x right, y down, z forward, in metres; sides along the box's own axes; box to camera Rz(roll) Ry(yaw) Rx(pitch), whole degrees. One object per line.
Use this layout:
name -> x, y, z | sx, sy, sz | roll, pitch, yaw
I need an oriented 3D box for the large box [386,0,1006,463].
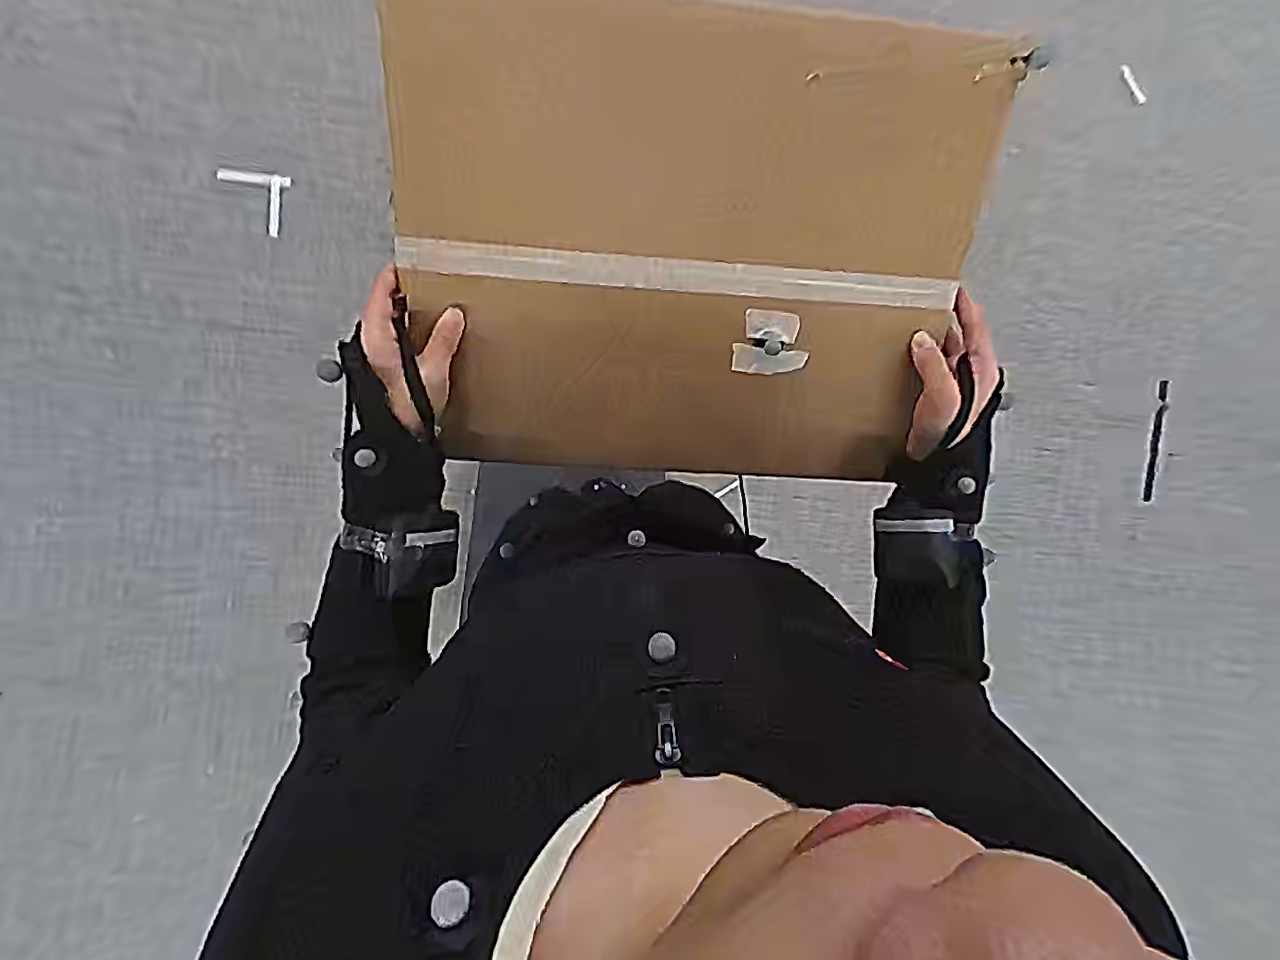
large box -> 0.023, -0.220, 0.532 | 0.408, 0.320, 0.320 | 3, 115, -5
